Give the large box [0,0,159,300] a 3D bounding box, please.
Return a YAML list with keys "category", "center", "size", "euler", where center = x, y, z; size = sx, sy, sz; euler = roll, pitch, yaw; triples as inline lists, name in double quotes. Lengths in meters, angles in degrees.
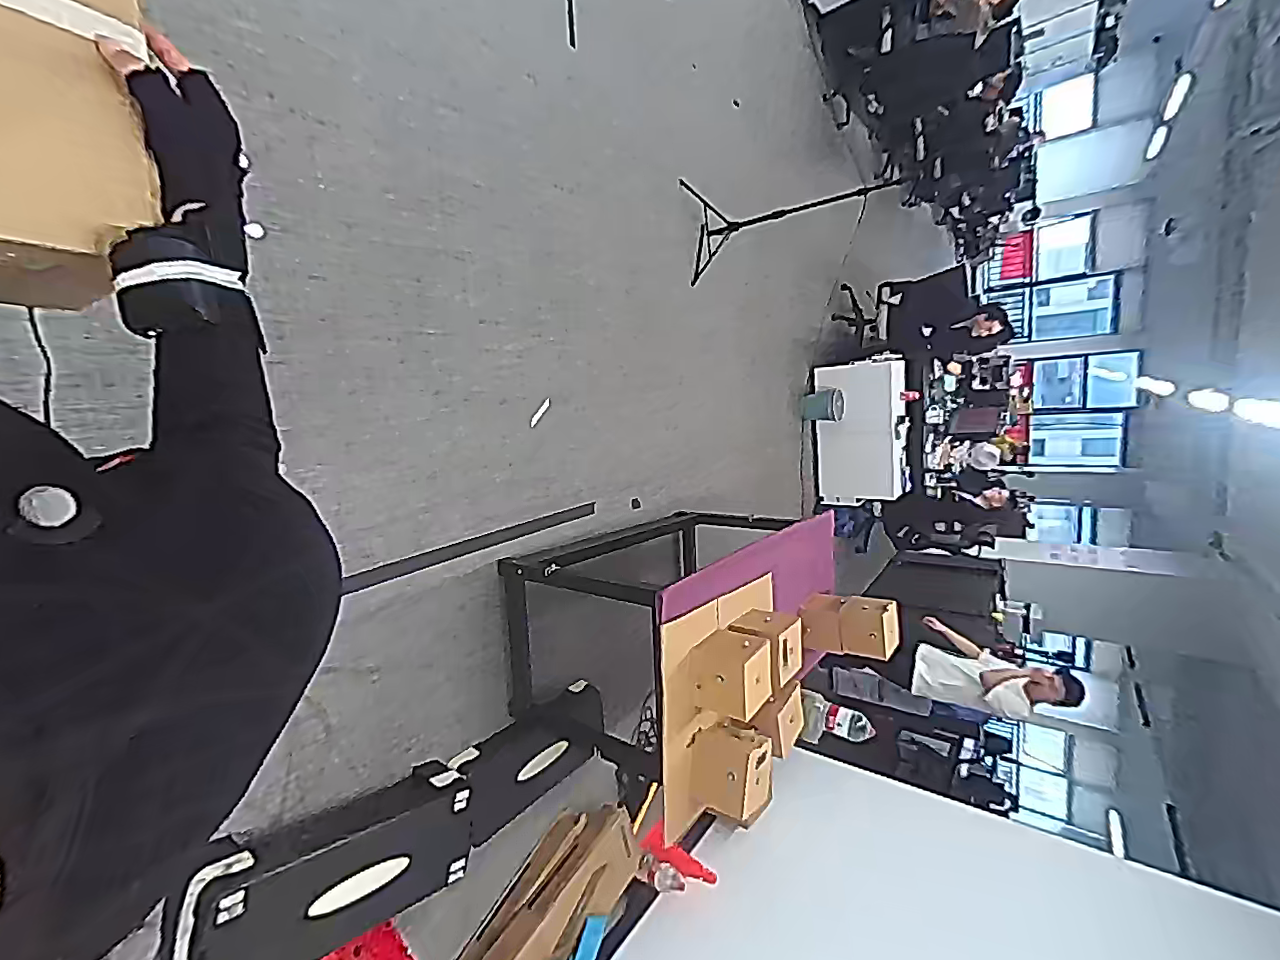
- category: "large box"
  center: [-0.622, -0.316, 0.335]
  size: [0.408, 0.320, 0.320]
  euler: [-10, 103, -55]
